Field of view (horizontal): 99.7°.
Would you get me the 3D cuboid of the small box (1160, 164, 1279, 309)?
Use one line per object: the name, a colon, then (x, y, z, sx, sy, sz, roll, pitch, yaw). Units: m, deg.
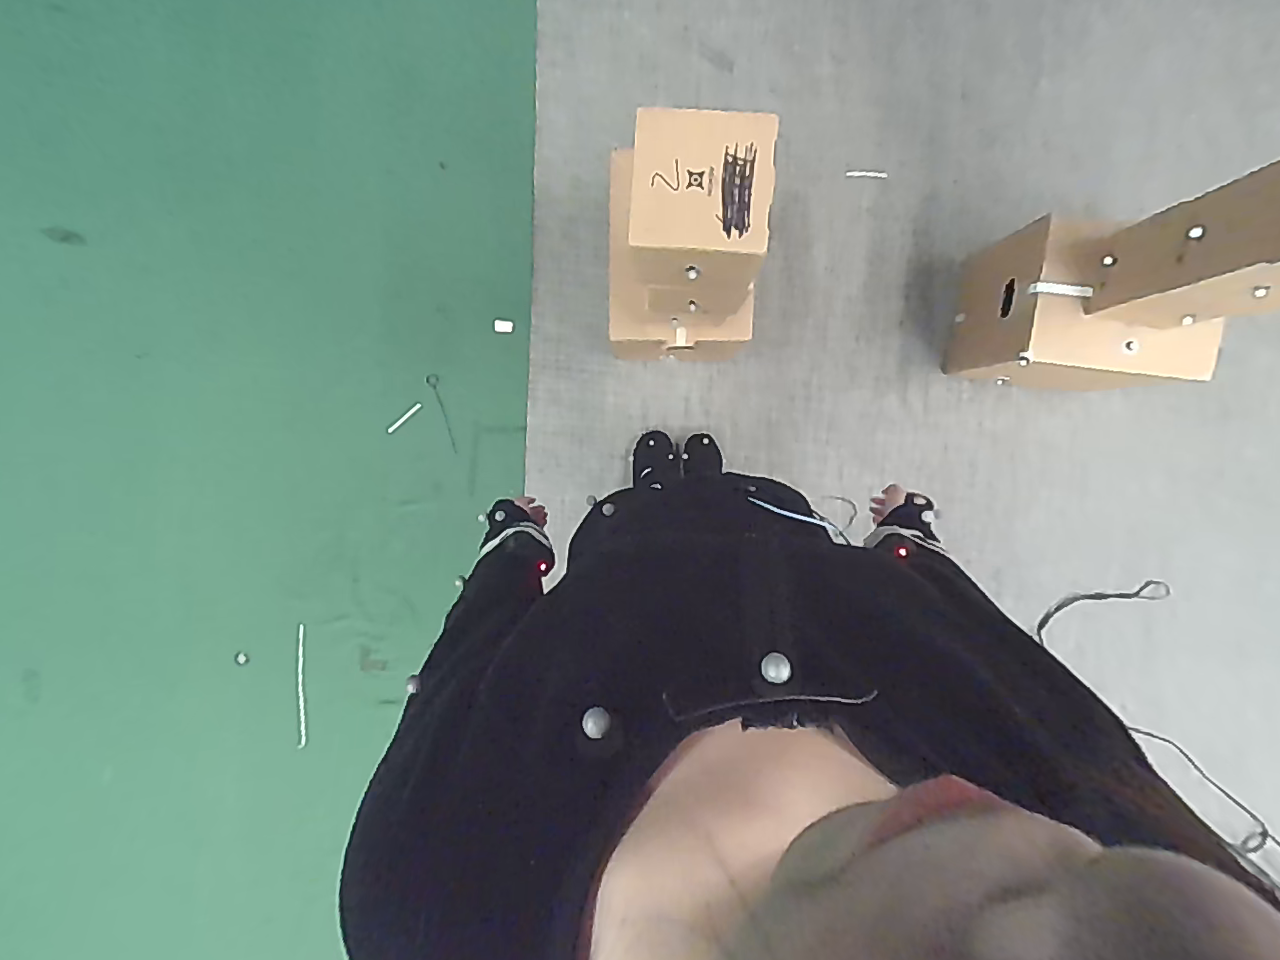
small box: (1.032, -0.392, 0.886, 0.179, 0.176, 0.168, 12, 93, 1)

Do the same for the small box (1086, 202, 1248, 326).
small box: (1.032, -0.406, 1.050, 0.179, 0.176, 0.168, 11, 93, 0)

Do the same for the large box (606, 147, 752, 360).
large box: (0.088, -0.514, 1.303, 0.320, 0.320, 0.408, 1, 94, 1)

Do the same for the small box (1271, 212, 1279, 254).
small box: (1.028, -0.385, 0.722, 0.168, 0.176, 0.179, 11, 94, 0)

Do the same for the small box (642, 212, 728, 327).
small box: (0.092, -0.406, 1.068, 0.168, 0.176, 0.179, 3, 94, 1)

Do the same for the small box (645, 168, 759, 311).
small box: (0.097, -0.389, 0.904, 0.168, 0.176, 0.179, 3, 94, 1)
